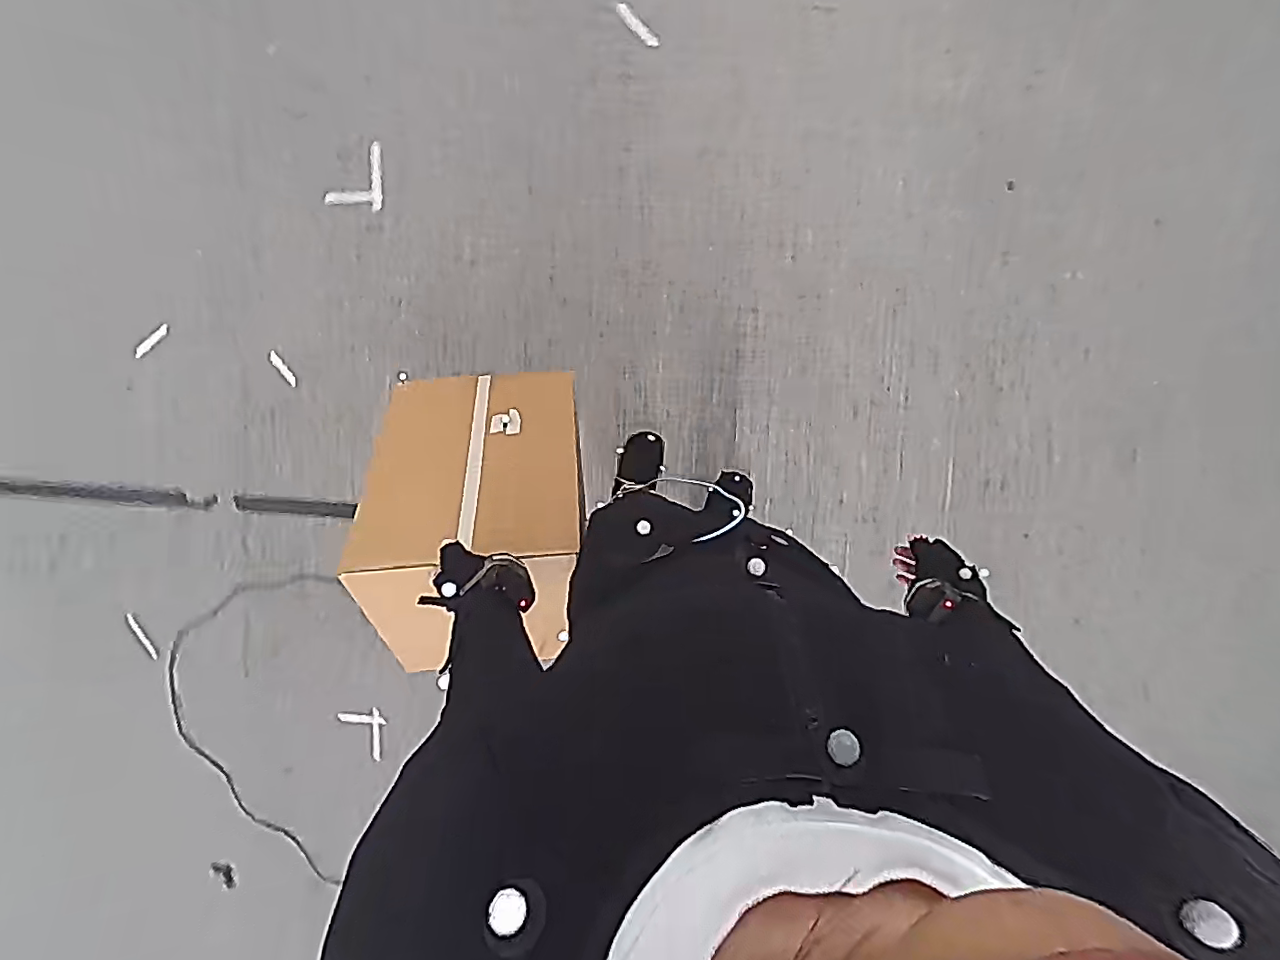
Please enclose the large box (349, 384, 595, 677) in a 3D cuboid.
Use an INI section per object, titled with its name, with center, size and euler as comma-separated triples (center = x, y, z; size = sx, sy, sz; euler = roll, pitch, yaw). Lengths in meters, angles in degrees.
[large box]
center = -0.259, 0.082, 0.965
size = 0.320, 0.408, 0.320
euler = -5, 137, -5
